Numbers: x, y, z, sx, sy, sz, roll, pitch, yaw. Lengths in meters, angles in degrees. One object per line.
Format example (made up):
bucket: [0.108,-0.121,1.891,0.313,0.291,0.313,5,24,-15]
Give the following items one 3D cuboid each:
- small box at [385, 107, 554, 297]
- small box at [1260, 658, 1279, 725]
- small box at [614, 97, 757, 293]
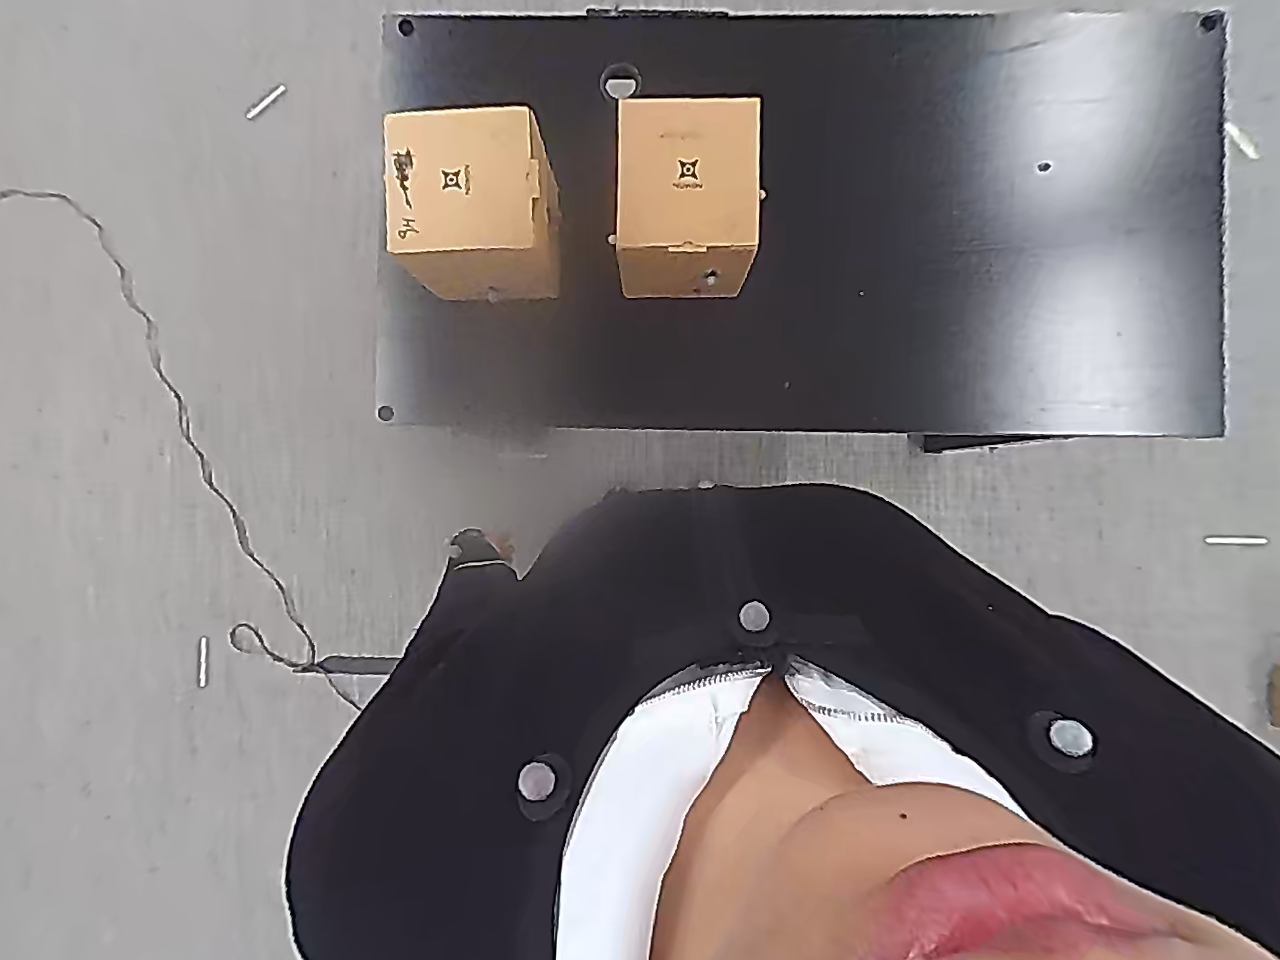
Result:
small box: [-0.208,-0.349,0.706,0.179,0.176,0.168,-2,89,0]
small box: [1.773,0.571,1.394,0.168,0.176,0.179,1,90,2]
small box: [0.054,-0.355,0.704,0.168,0.176,0.179,0,89,0]
